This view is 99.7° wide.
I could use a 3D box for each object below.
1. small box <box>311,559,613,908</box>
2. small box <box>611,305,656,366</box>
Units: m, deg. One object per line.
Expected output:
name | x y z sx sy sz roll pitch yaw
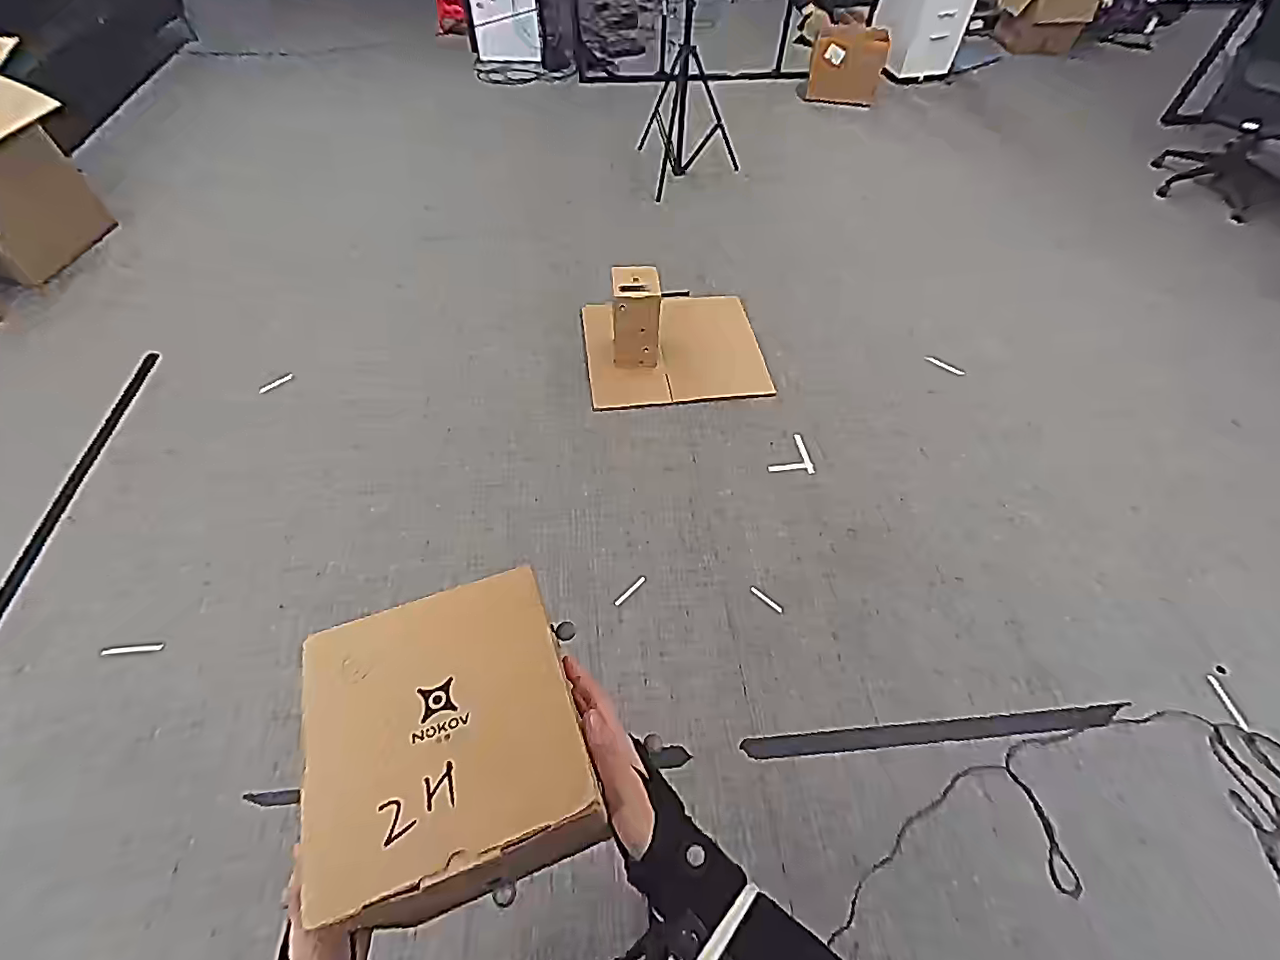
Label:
small box | -0.125 0.193 0.413 0.168 0.176 0.179 -16 54 -12
small box | -0.028 -0.558 2.101 0.168 0.176 0.179 -2 54 -4
